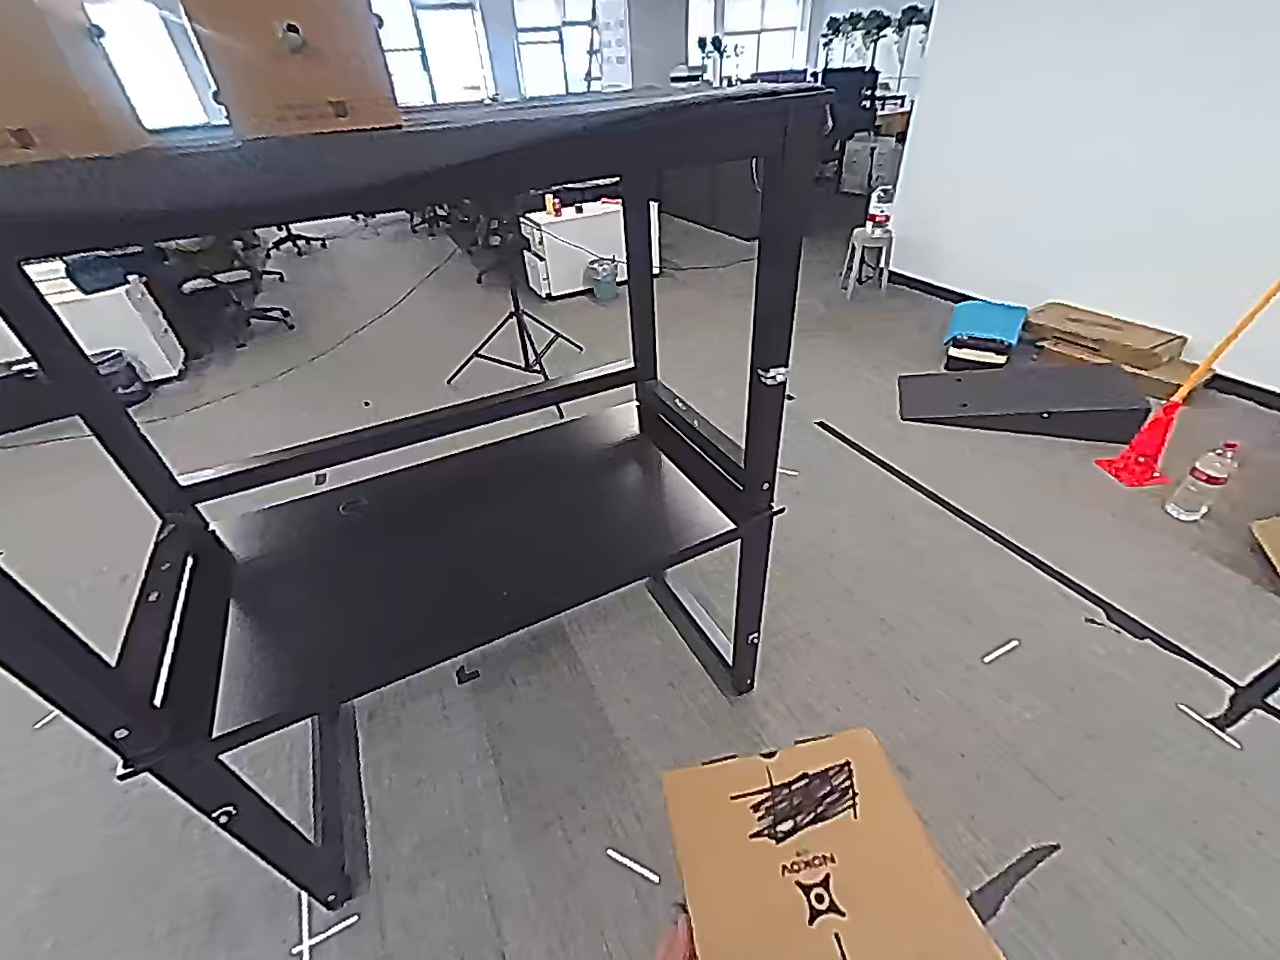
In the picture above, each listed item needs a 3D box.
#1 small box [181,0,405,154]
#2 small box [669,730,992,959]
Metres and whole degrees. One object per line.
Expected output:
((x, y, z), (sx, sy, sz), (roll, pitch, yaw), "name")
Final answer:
((-0.374, -0.466, 0.598), (0.168, 0.176, 0.179), (-18, 38, -19), "small box")
((0.118, 0.320, 0.392), (0.168, 0.176, 0.179), (-10, 36, -4), "small box")
